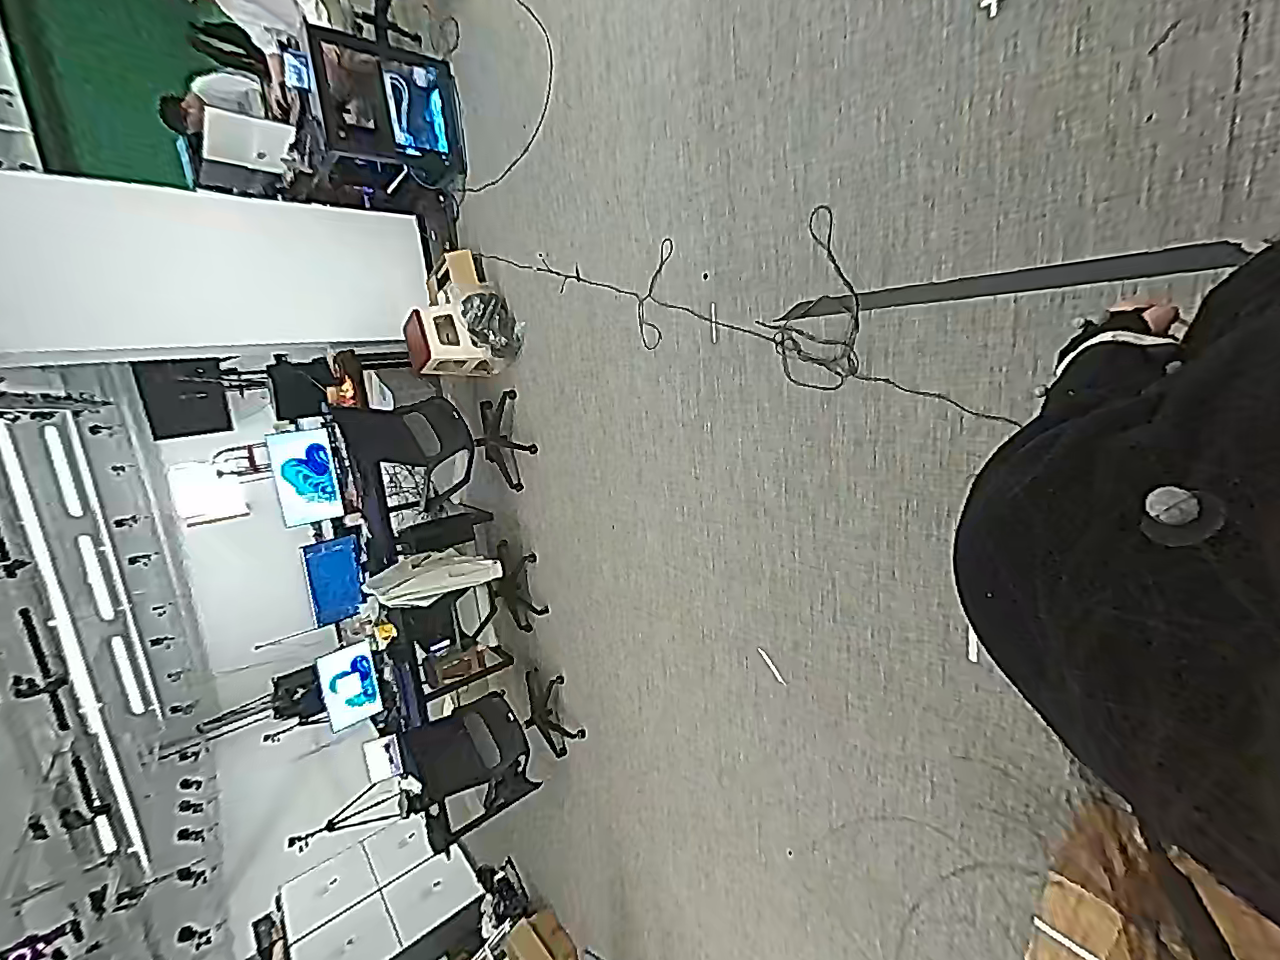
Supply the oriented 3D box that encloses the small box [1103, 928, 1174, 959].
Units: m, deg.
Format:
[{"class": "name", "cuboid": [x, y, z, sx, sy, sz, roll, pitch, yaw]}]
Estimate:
[{"class": "small box", "cuboid": [0.963, 1.006, 1.004, 0.179, 0.176, 0.168, 22, 118, 47]}]
